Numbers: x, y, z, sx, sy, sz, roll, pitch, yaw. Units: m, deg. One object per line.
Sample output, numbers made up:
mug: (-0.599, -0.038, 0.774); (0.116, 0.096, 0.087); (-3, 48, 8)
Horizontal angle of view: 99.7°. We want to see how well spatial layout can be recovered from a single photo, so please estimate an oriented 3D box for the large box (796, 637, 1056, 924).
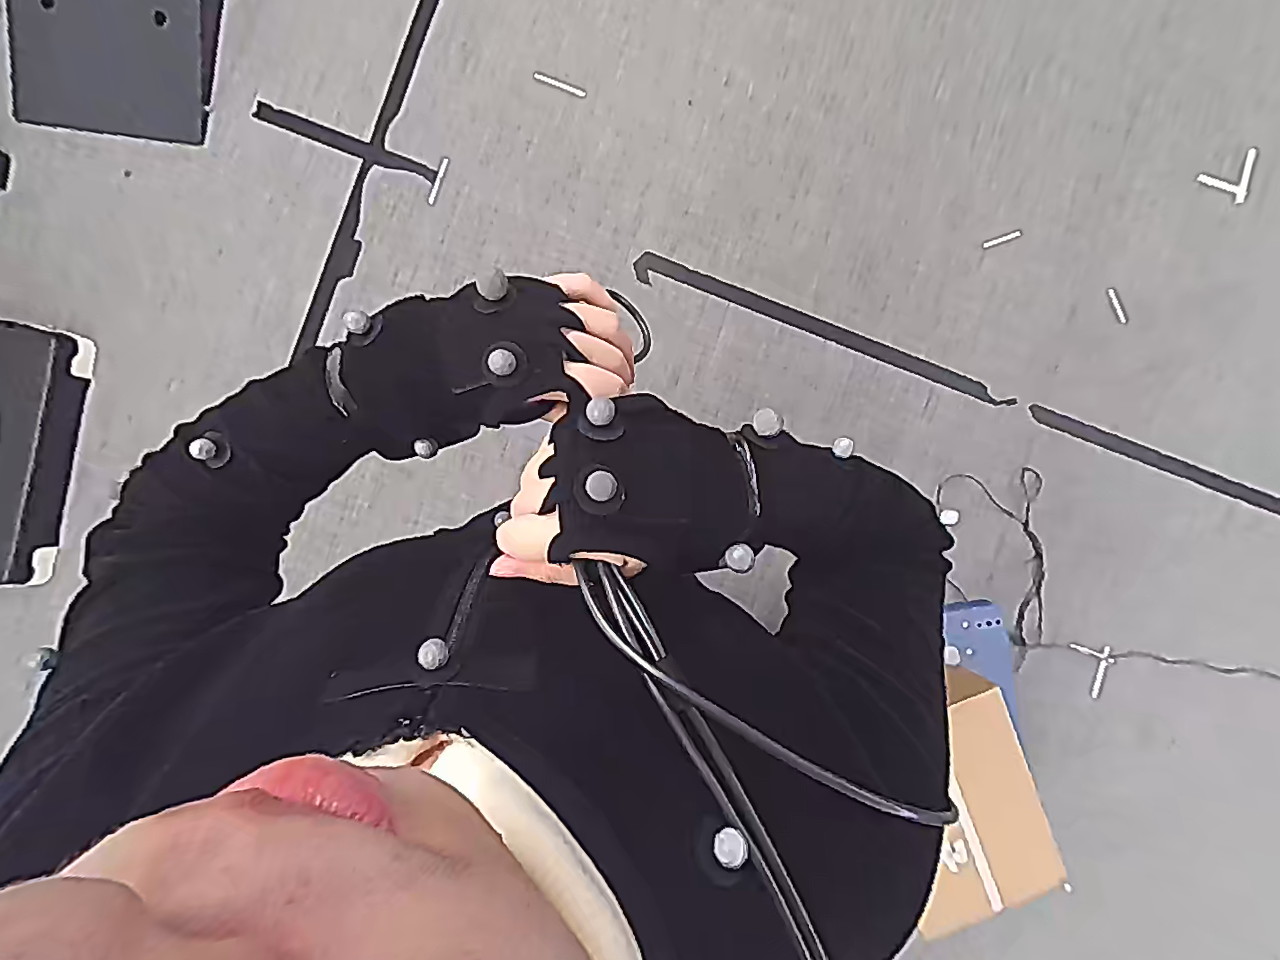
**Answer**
large box: (0.597, 0.622, 1.196); (0.320, 0.320, 0.408); (-19, 91, -2)
